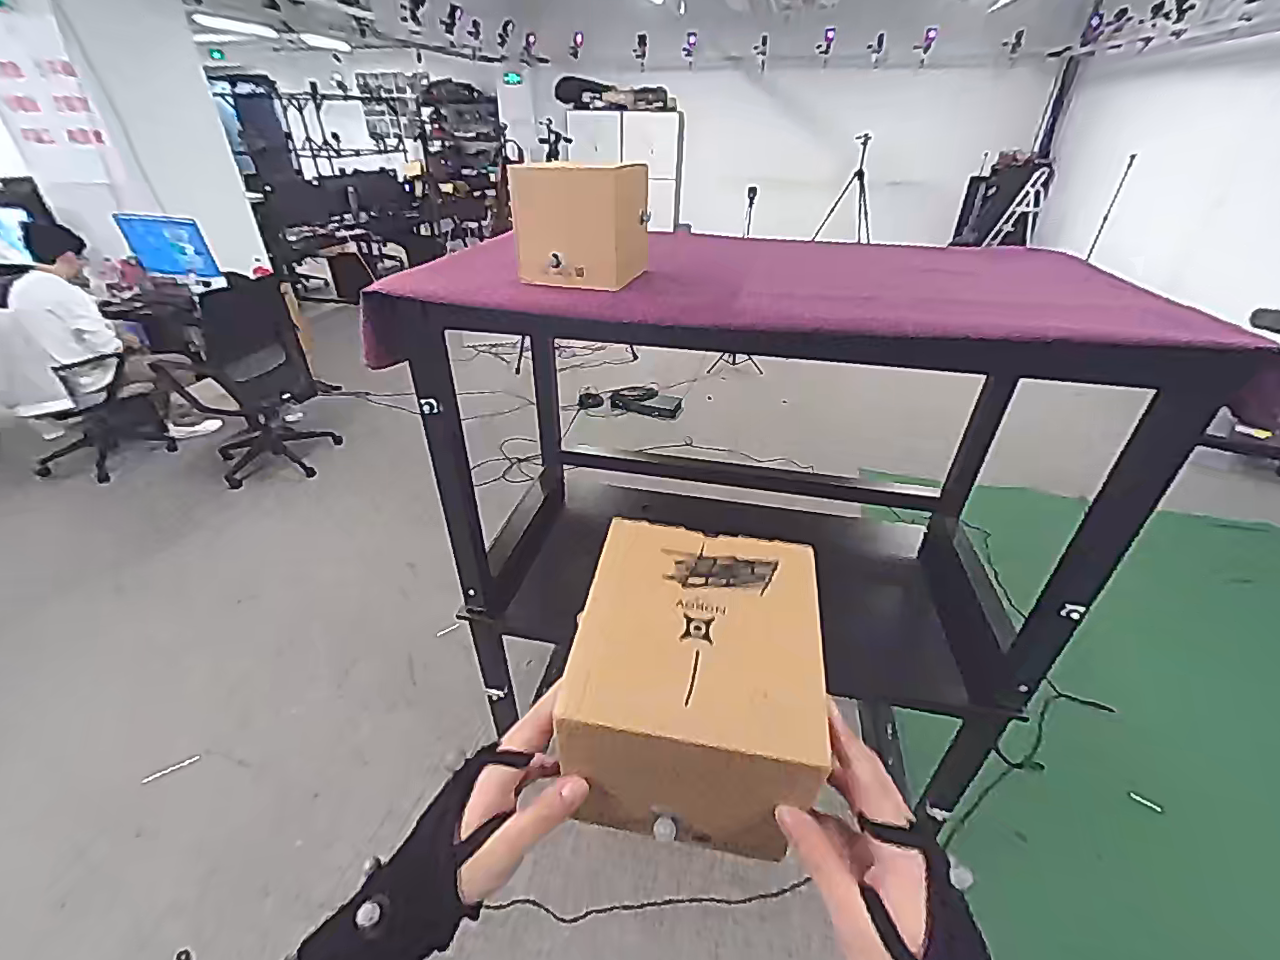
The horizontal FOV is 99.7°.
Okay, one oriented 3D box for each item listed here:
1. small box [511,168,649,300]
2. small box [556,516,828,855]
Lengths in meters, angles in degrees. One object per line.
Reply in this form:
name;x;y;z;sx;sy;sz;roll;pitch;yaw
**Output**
small box;-0.088;-0.400;0.868;0.168;0.176;0.179;9;33;14
small box;0.041;0.157;0.429;0.168;0.176;0.179;7;40;8
